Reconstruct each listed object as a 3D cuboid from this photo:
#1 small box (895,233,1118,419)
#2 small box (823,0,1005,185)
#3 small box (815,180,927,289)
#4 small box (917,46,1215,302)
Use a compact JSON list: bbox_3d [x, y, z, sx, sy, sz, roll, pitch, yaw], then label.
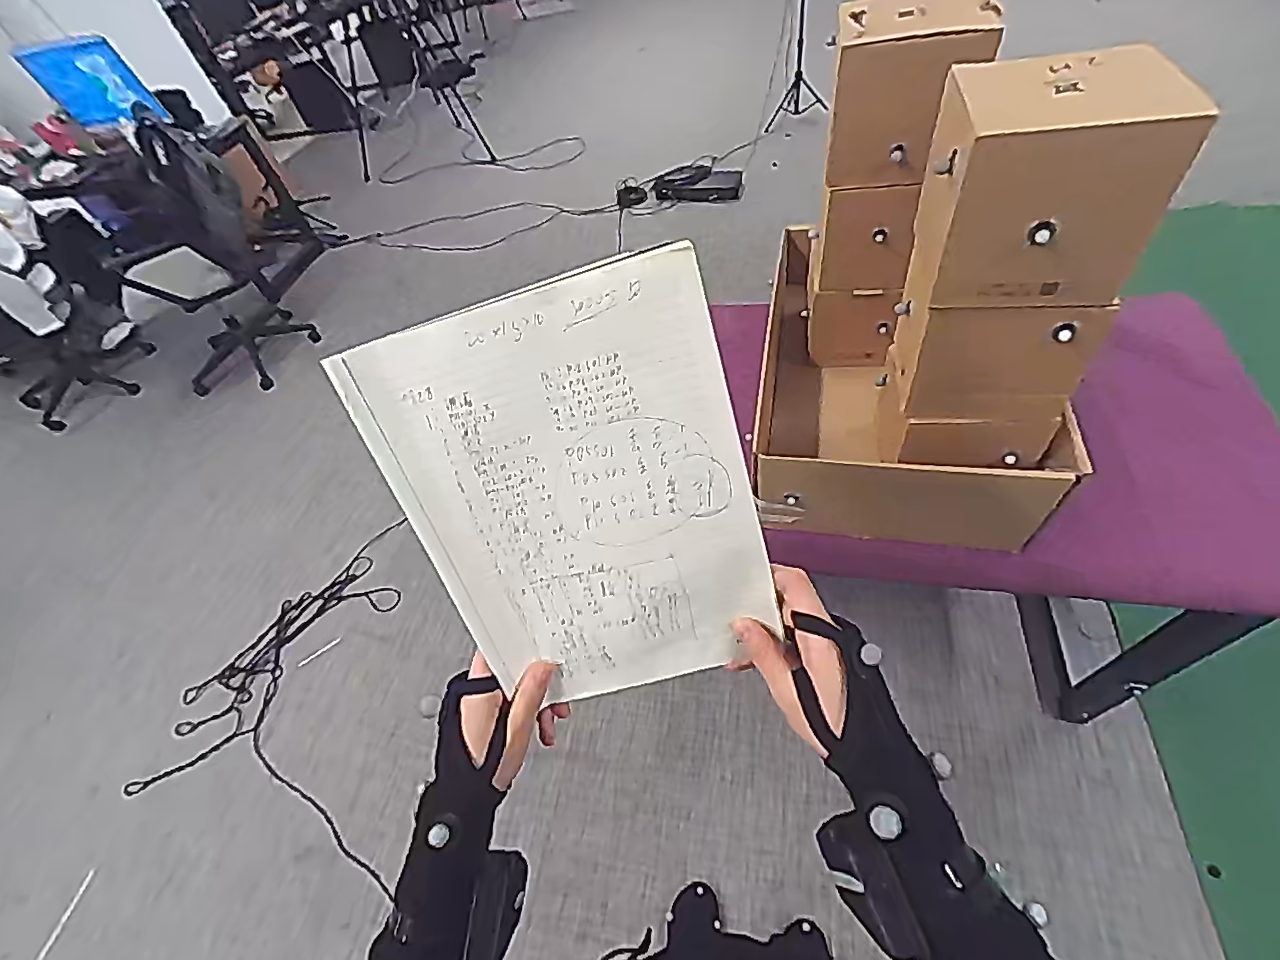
[{"bbox_3d":[0.421,-0.190,0.663,0.179,0.176,0.168,5,52,15],"label":"small box"},{"bbox_3d":[0.352,-0.523,0.731,0.179,0.176,0.168,5,54,13],"label":"small box"},{"bbox_3d":[0.379,-0.421,0.858,0.179,0.176,0.168,2,54,13],"label":"small box"},{"bbox_3d":[0.389,-0.294,0.538,0.168,0.176,0.179,5,52,15],"label":"small box"}]
